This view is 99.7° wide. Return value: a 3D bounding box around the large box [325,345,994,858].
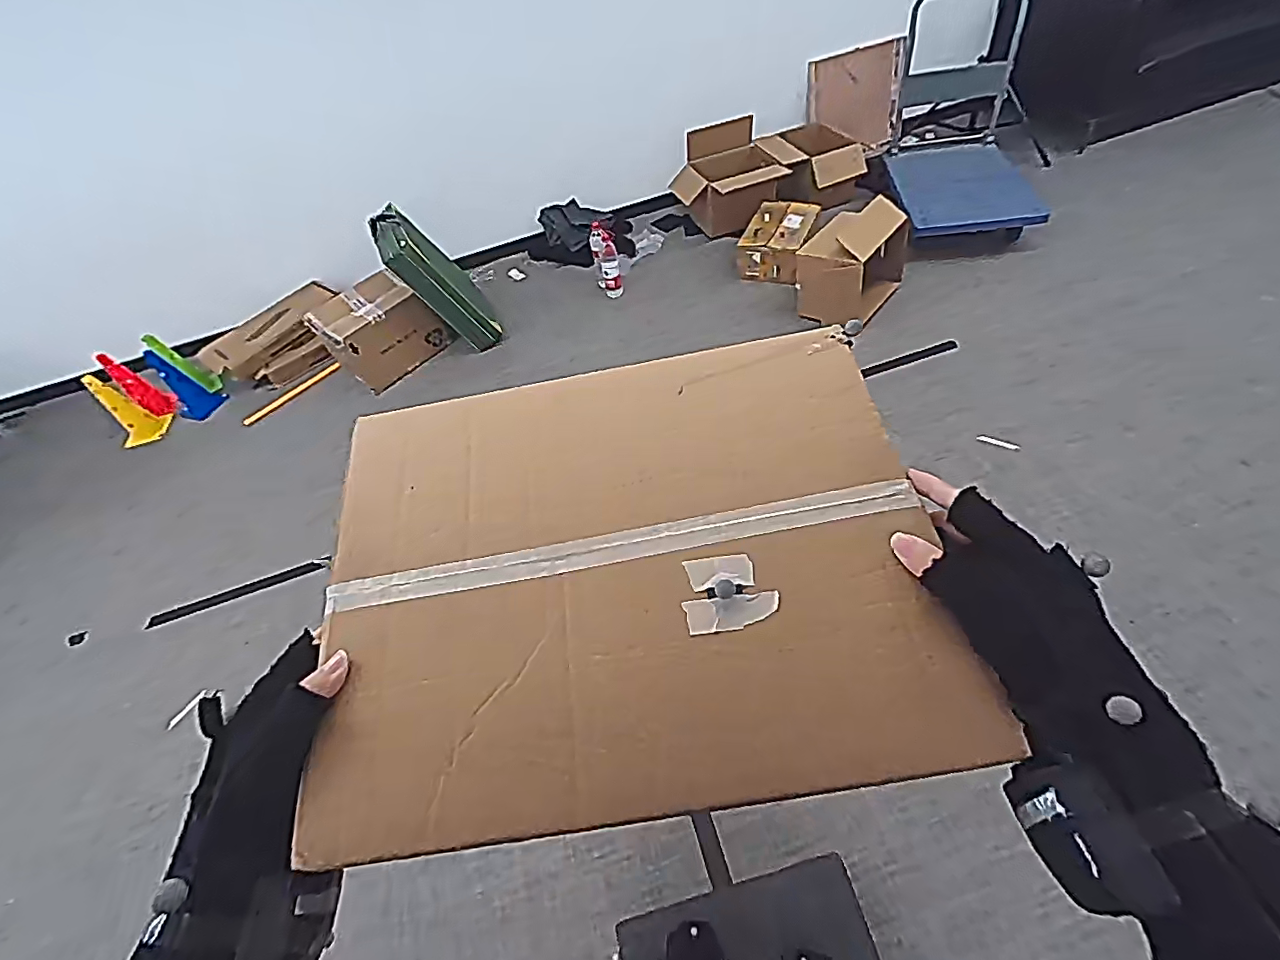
[{"bbox_3d":[0.003,0.126,0.513,0.408,0.320,0.320,-10,61,2],"label":"large box"}]
